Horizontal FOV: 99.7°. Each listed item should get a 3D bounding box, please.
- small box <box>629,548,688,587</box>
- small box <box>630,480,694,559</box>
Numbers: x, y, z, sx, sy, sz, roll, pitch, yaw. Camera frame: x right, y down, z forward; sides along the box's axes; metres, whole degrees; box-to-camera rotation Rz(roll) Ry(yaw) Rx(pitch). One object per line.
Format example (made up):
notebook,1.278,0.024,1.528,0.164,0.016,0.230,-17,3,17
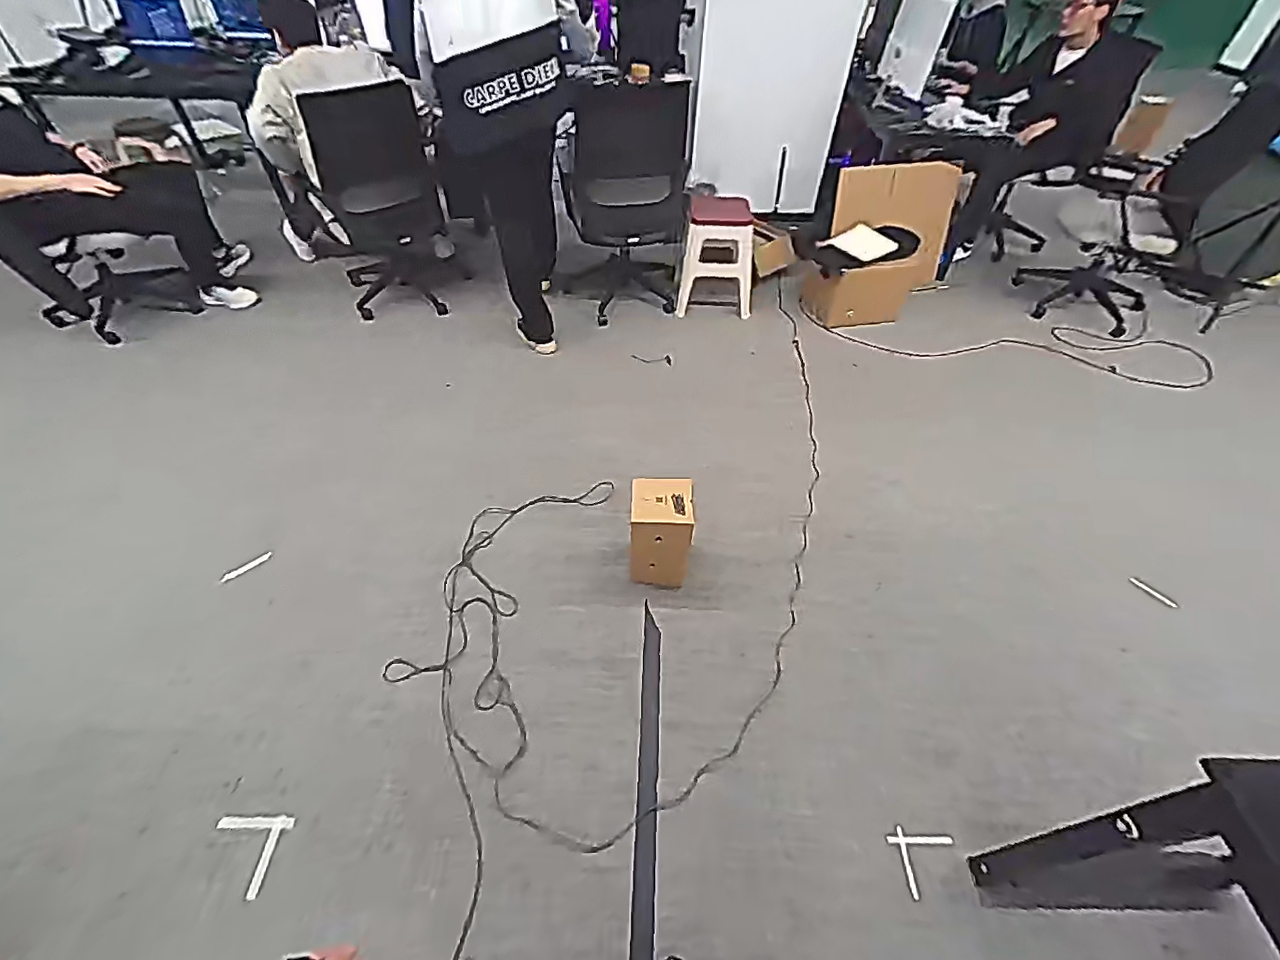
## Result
small box,0.063,0.223,1.718,0.179,0.176,0.168,7,48,5
small box,0.061,0.120,1.589,0.179,0.176,0.168,1,47,0
